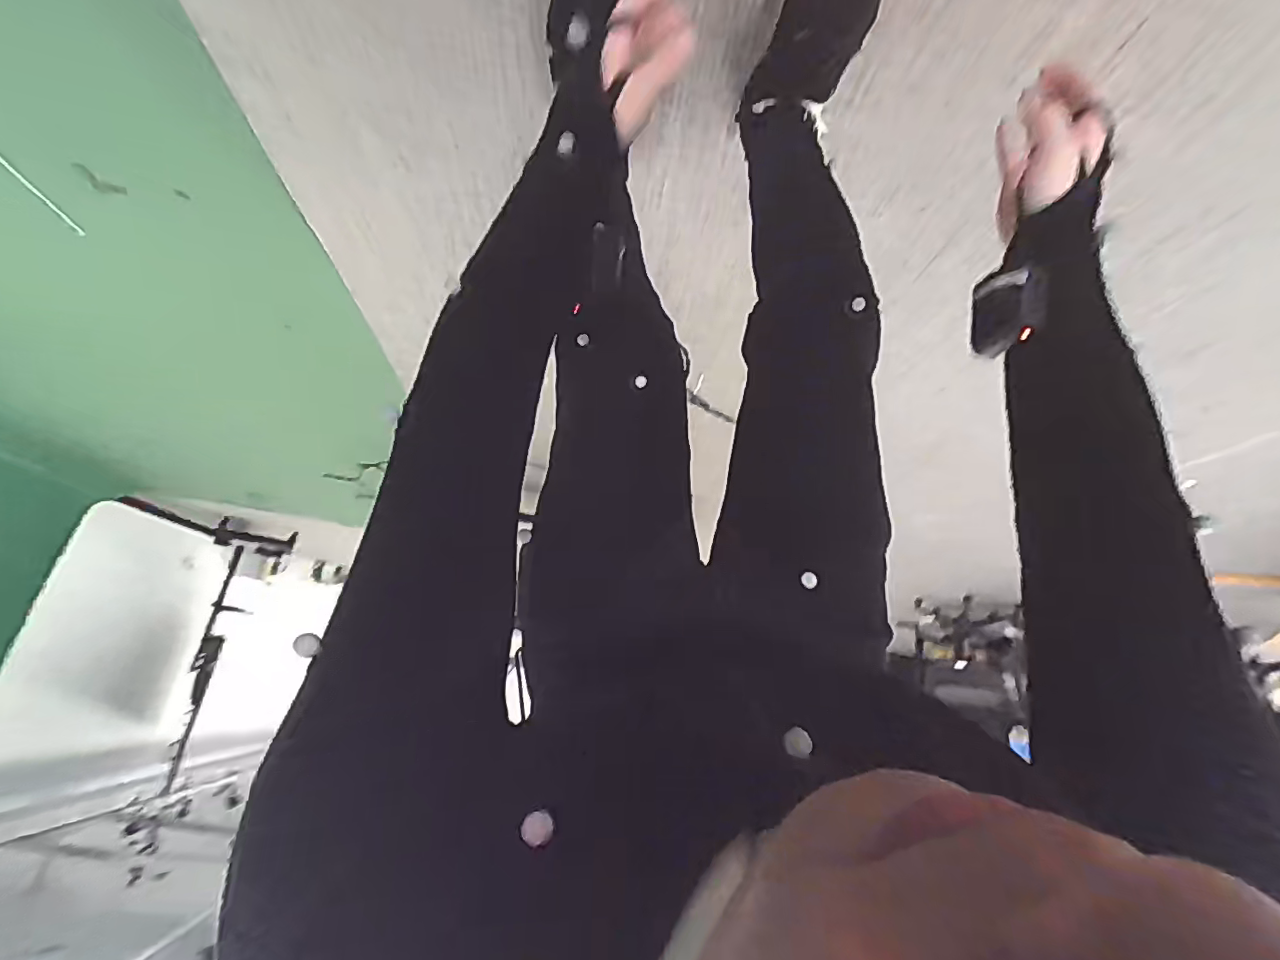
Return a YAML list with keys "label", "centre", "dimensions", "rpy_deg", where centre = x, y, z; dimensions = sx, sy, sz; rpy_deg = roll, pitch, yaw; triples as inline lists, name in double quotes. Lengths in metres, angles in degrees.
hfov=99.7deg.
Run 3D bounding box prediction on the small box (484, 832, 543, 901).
- label: "small box"
  centre: [-0.477, 1.468, 2.065]
  dimensions: [0.179, 0.176, 0.168]
  rpy_deg: [10, 159, -3]
